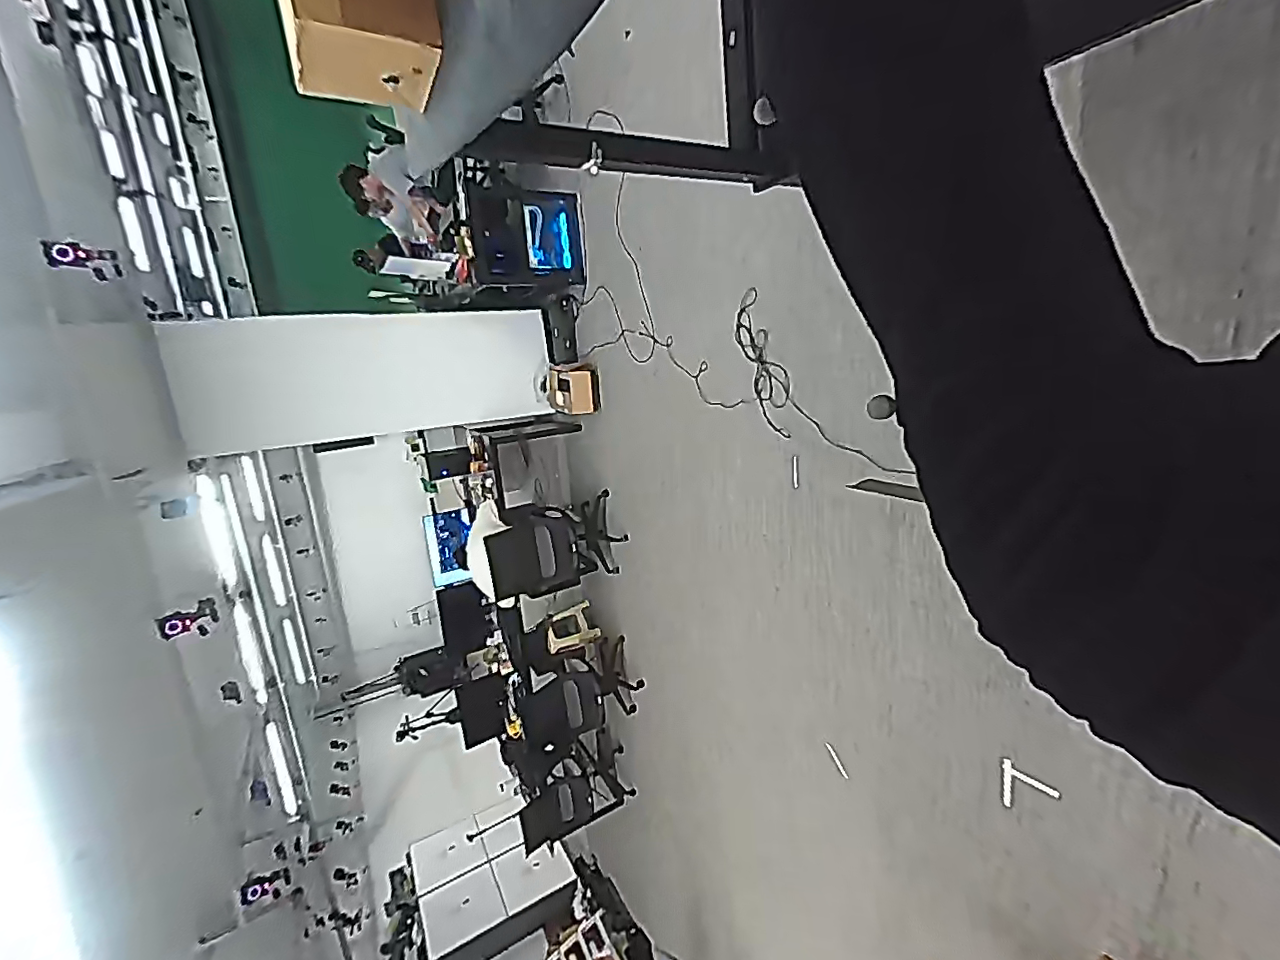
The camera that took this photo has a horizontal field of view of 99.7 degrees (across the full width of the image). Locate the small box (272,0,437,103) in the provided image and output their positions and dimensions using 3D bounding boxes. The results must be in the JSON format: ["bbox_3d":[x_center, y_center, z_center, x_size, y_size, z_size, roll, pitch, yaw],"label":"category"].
[{"bbox_3d":[-0.374,-0.626,0.696,0.168,0.176,0.179,9,109,60],"label":"small box"}]
